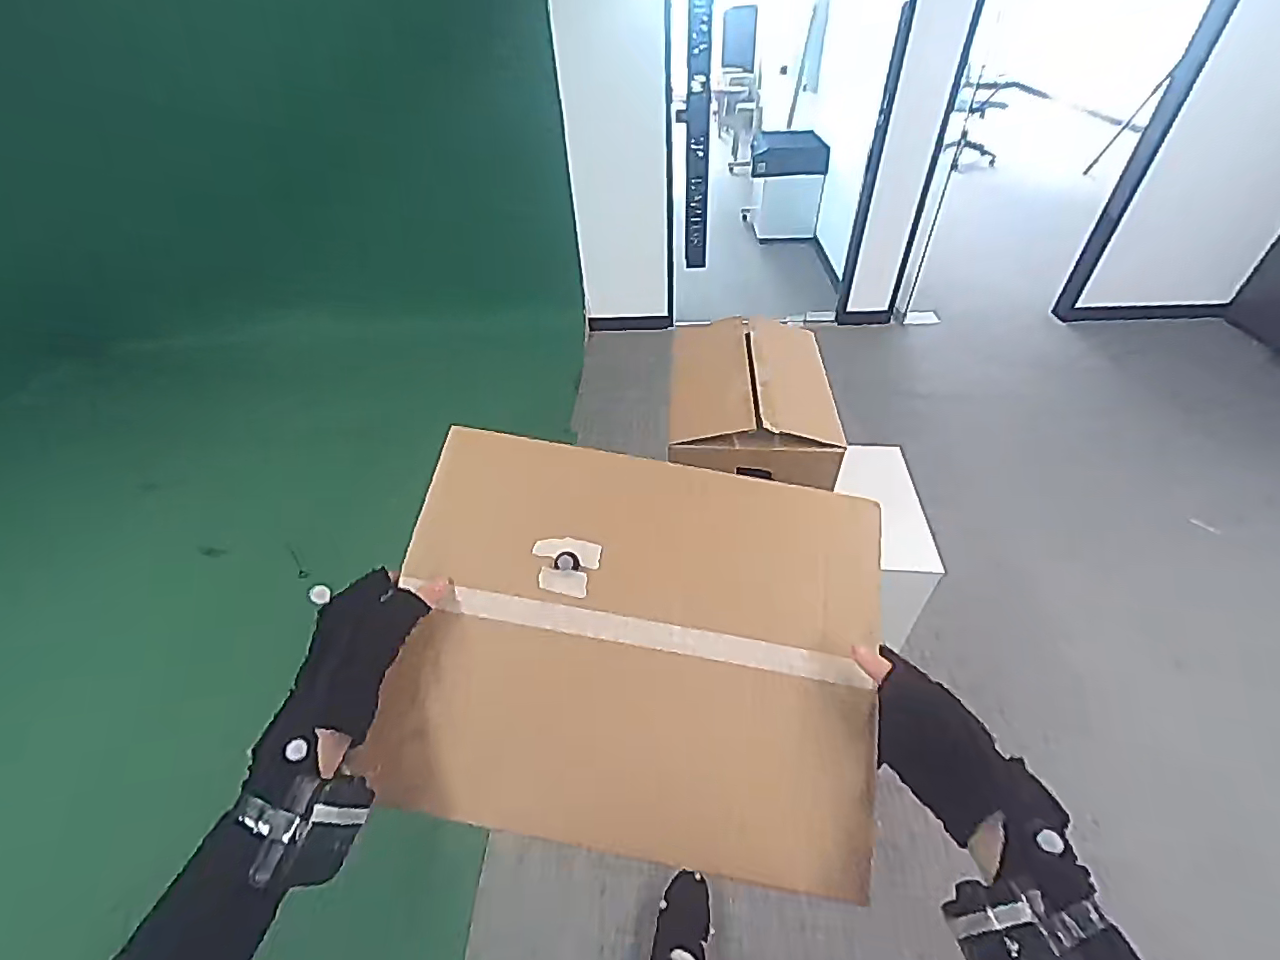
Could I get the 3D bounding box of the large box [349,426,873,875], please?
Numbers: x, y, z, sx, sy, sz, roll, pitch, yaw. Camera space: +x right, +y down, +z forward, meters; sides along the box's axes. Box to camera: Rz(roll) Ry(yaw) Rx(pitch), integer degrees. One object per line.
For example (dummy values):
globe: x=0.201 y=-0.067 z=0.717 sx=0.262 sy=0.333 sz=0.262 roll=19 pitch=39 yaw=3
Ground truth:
large box: x=-0.004 y=0.167 z=0.594 sx=0.408 sy=0.320 sz=0.320 roll=9 pitch=70 yaw=4
